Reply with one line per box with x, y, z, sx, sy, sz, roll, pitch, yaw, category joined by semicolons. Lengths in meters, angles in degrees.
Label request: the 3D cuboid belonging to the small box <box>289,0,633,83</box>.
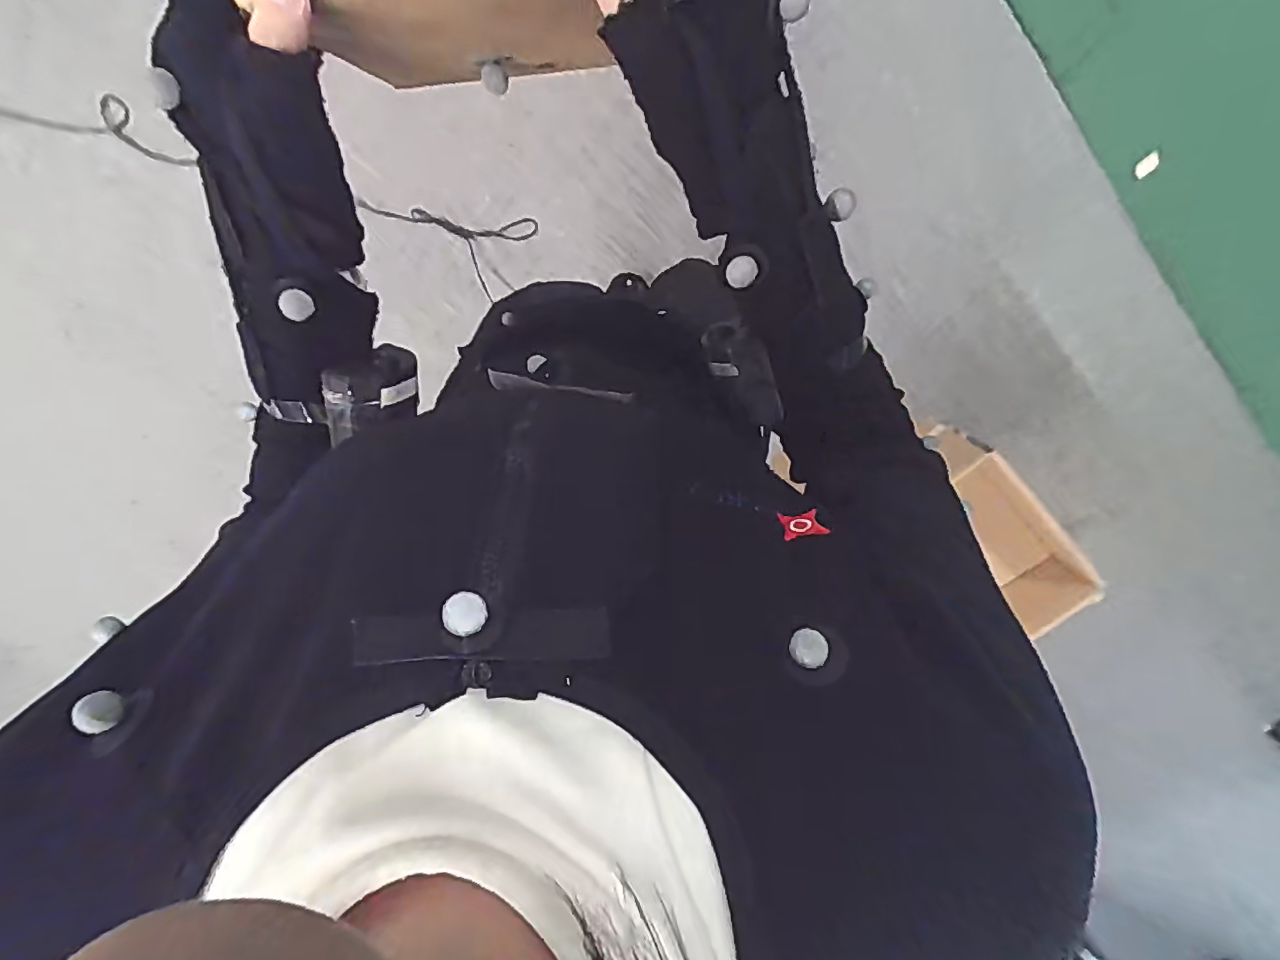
-0.092;-0.312;0.246;0.168;0.176;0.179;-5;116;2;small box
